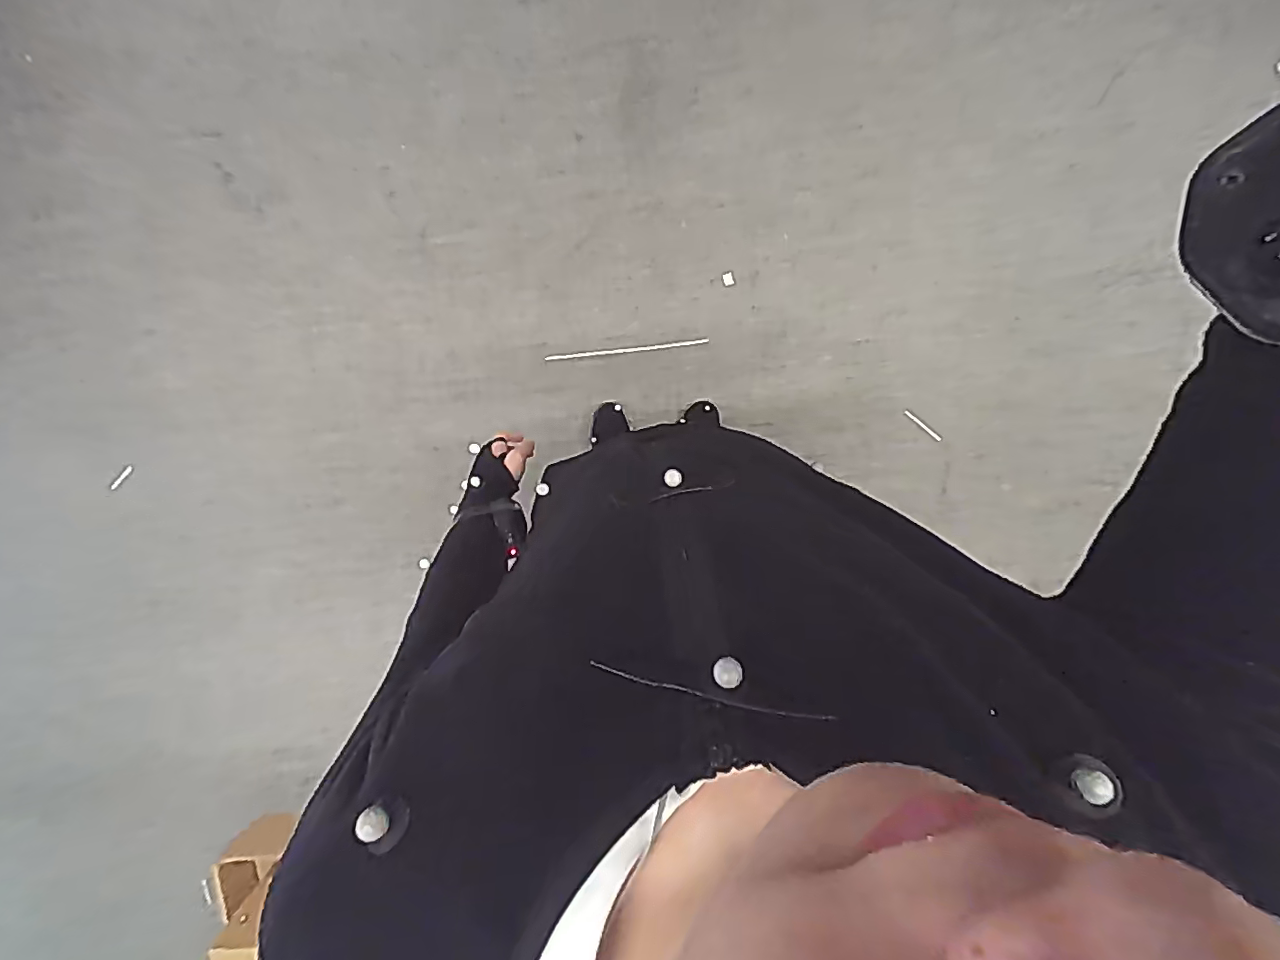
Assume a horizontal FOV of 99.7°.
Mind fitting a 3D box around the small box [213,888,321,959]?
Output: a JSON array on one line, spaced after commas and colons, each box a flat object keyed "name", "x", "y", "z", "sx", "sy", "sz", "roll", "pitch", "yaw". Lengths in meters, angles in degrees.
[{"name": "small box", "x": -1.036, "y": 1.287, "z": 1.513, "sx": 0.179, "sy": 0.176, "sz": 0.168, "roll": -3, "pitch": 100, "yaw": -1}]
